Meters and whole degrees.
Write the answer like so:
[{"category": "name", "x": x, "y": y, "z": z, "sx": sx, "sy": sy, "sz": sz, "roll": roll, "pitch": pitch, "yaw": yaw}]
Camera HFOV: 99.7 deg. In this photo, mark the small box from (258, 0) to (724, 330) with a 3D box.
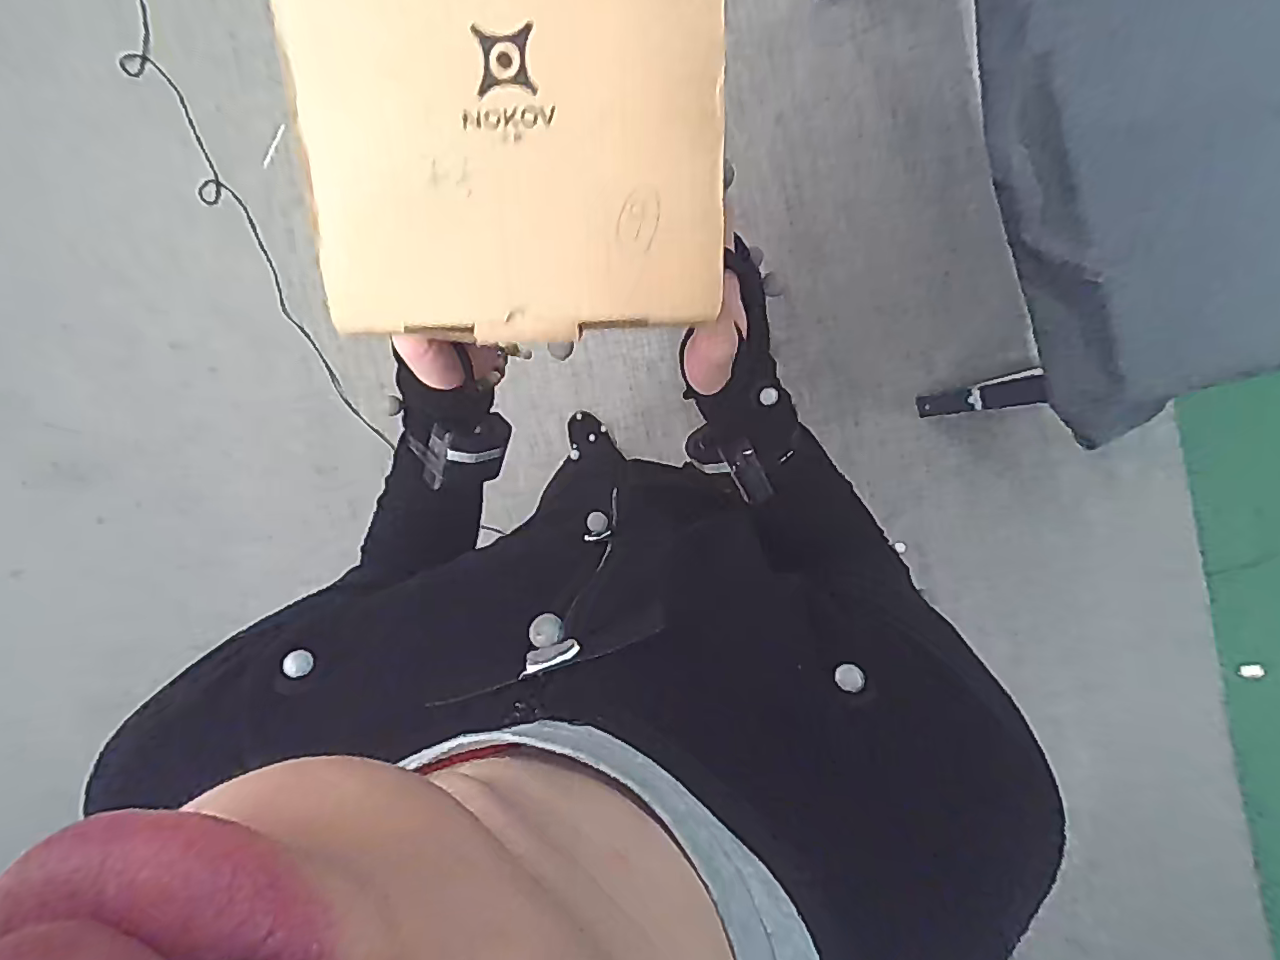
[{"category": "small box", "x": -0.052, "y": -0.170, "z": 0.273, "sx": 0.168, "sy": 0.176, "sz": 0.179, "roll": -2, "pitch": 105, "yaw": -1}]
